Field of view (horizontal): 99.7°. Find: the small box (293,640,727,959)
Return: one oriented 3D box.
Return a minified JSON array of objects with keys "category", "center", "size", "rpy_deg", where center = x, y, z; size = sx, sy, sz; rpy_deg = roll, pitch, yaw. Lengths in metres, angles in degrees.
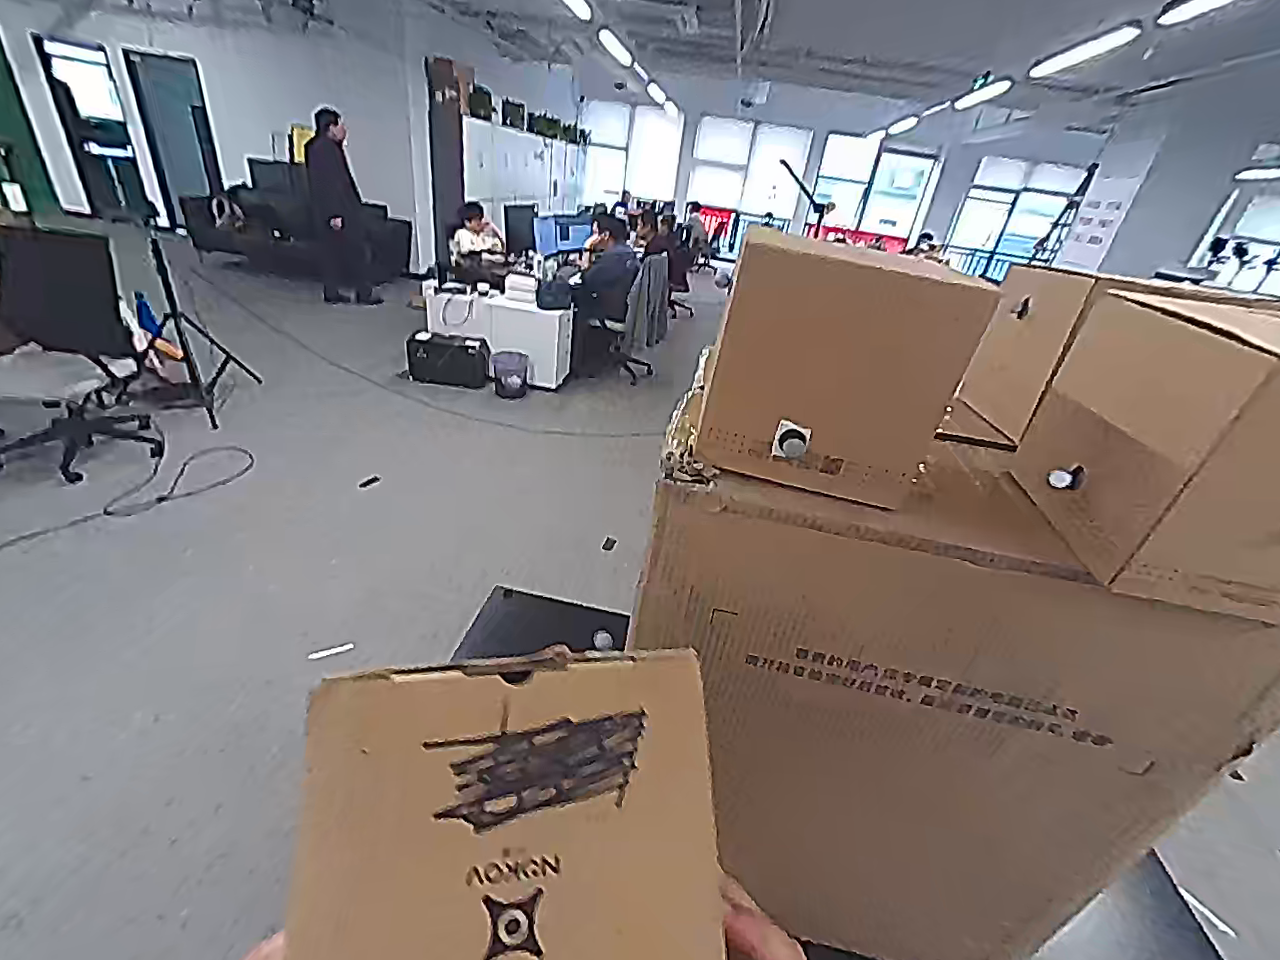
[{"category":"small box","center":[-0.061,0.185,0.291],"size":[0.168,0.176,0.179],"rpy_deg":[-2,74,-10]}]

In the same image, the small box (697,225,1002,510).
[{"category":"small box","center":[0.147,-0.101,0.452],"size":[0.168,0.176,0.179],"rpy_deg":[12,31,4]}]

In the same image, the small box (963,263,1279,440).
[{"category":"small box","center":[0.487,-0.130,0.585],"size":[0.168,0.176,0.179],"rpy_deg":[10,26,5]}]

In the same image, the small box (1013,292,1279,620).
[{"category":"small box","center":[0.415,-0.021,0.385],"size":[0.168,0.176,0.179],"rpy_deg":[10,32,6]}]
